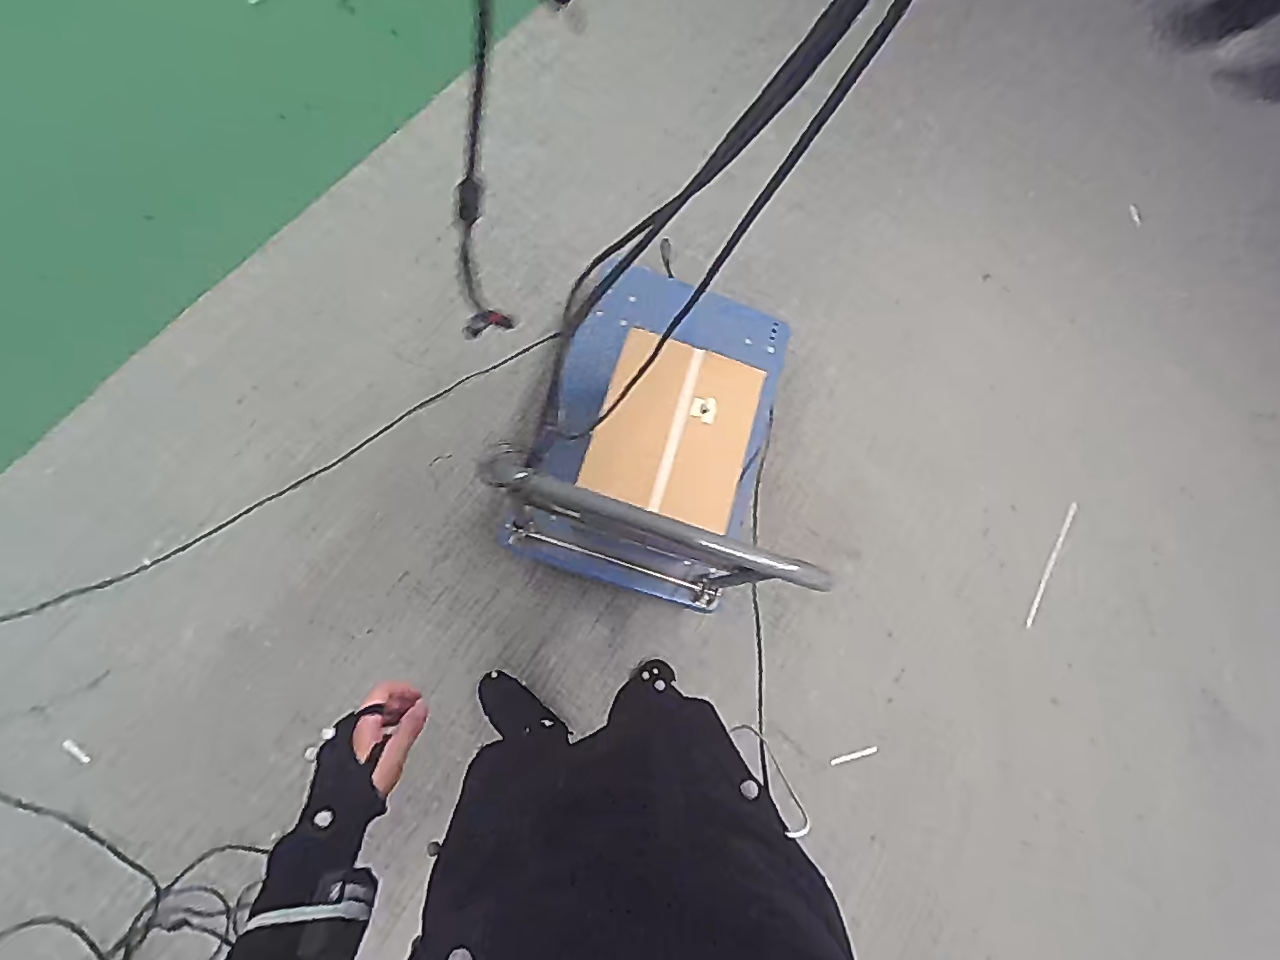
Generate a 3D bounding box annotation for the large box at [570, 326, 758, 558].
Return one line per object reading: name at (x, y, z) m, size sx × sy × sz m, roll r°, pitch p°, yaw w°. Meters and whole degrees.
large box at (0.039, -0.066, 1.252) m, size 0.320 × 0.320 × 0.408 m, roll 19°, pitch 73°, yaw -4°
